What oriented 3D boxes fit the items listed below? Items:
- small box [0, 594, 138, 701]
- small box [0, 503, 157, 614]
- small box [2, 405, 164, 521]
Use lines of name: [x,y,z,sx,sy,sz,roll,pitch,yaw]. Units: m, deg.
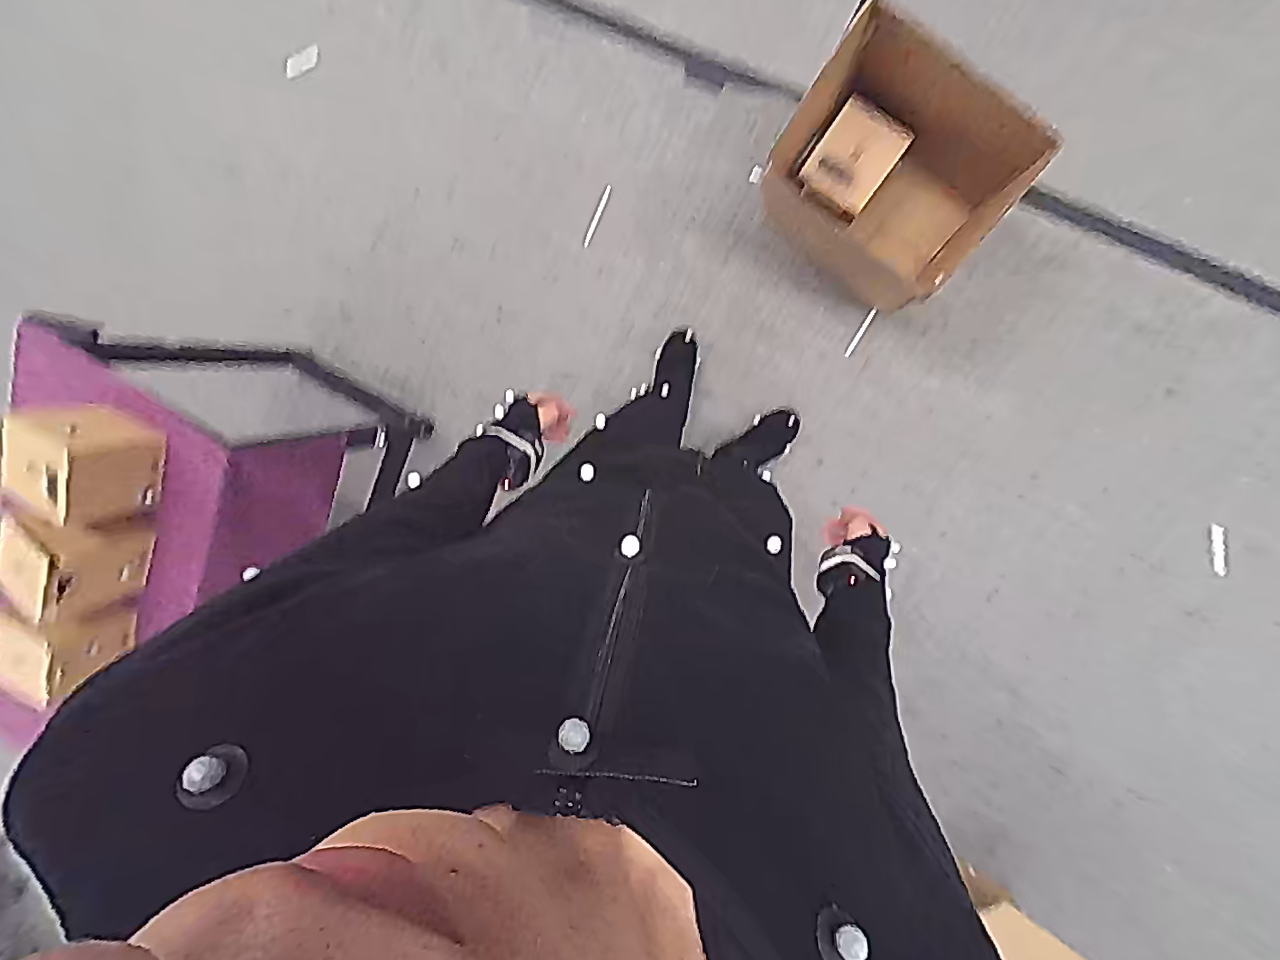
small box: [-1.304,0.360,1.236,0.179,0.176,0.168,21,106,10]
small box: [-1.202,0.148,1.160,0.179,0.176,0.168,30,108,7]
small box: [-1.119,-0.044,1.095,0.179,0.176,0.168,25,107,10]
